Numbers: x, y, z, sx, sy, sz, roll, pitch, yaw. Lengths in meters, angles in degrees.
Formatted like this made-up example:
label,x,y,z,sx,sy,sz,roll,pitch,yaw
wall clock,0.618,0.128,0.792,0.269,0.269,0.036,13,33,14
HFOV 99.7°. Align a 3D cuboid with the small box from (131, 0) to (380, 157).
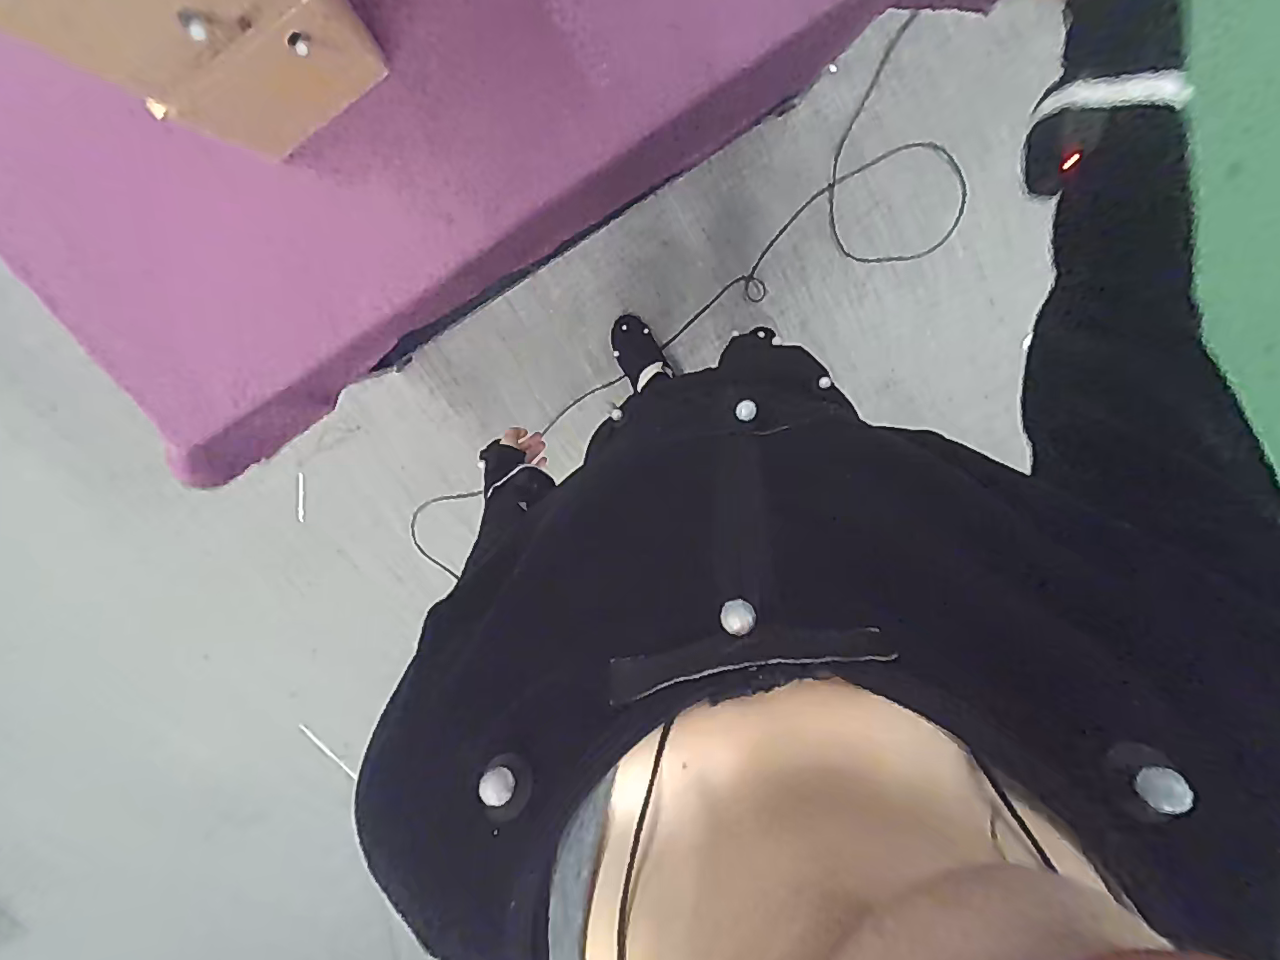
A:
label,x,y,z,sx,sy,sz,roll,pitch,yaw
small box,-0.392,-0.449,0.515,0.179,0.176,0.168,-33,106,7
